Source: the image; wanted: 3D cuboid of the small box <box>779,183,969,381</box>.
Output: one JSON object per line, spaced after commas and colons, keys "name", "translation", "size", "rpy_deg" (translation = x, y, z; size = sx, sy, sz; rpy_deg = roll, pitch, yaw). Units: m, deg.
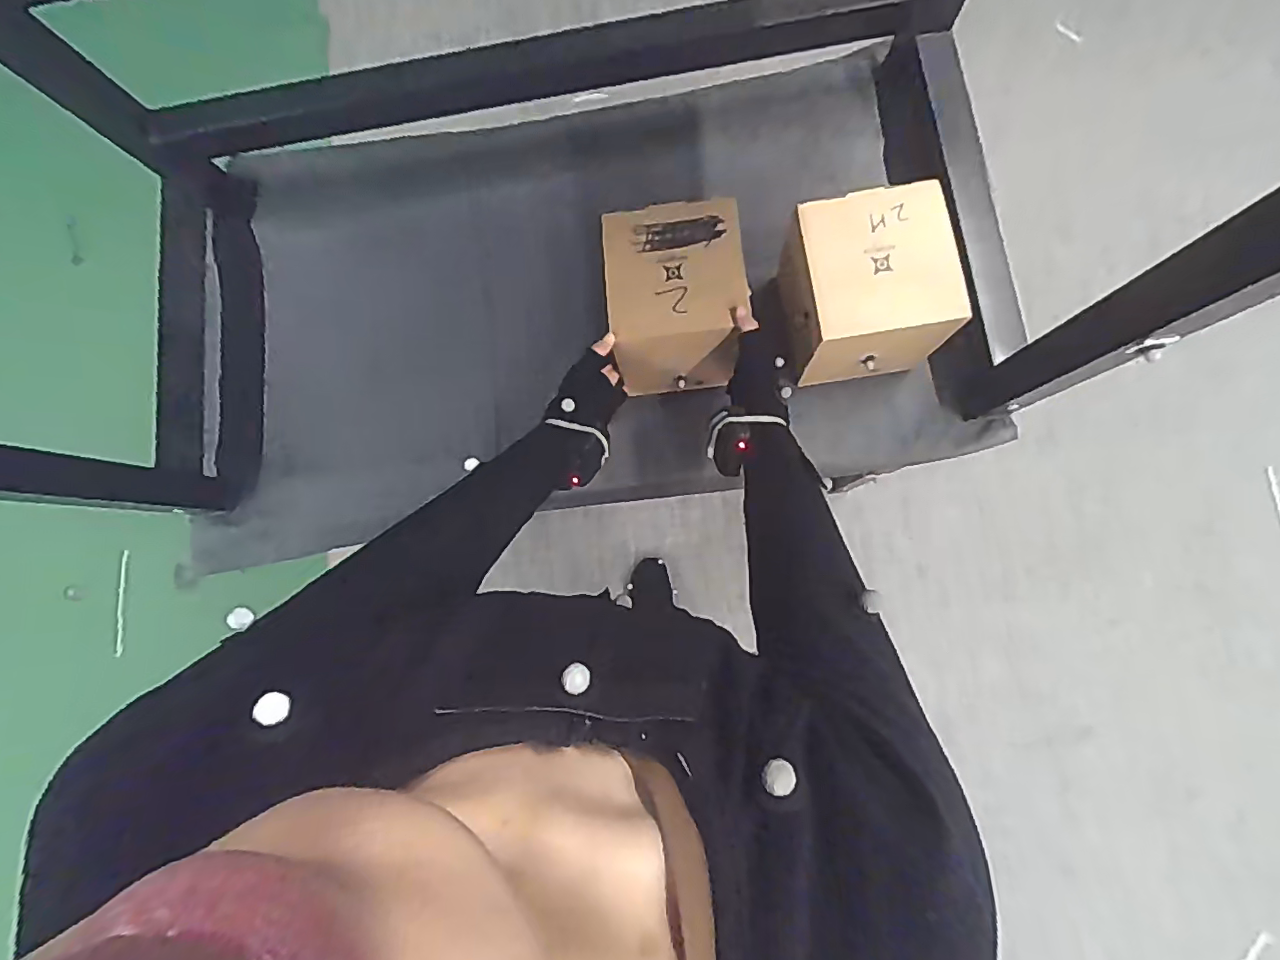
{"name": "small box", "translation": [0.286, -0.239, 0.701], "size": [0.168, 0.176, 0.179], "rpy_deg": [-9, 80, 4]}
